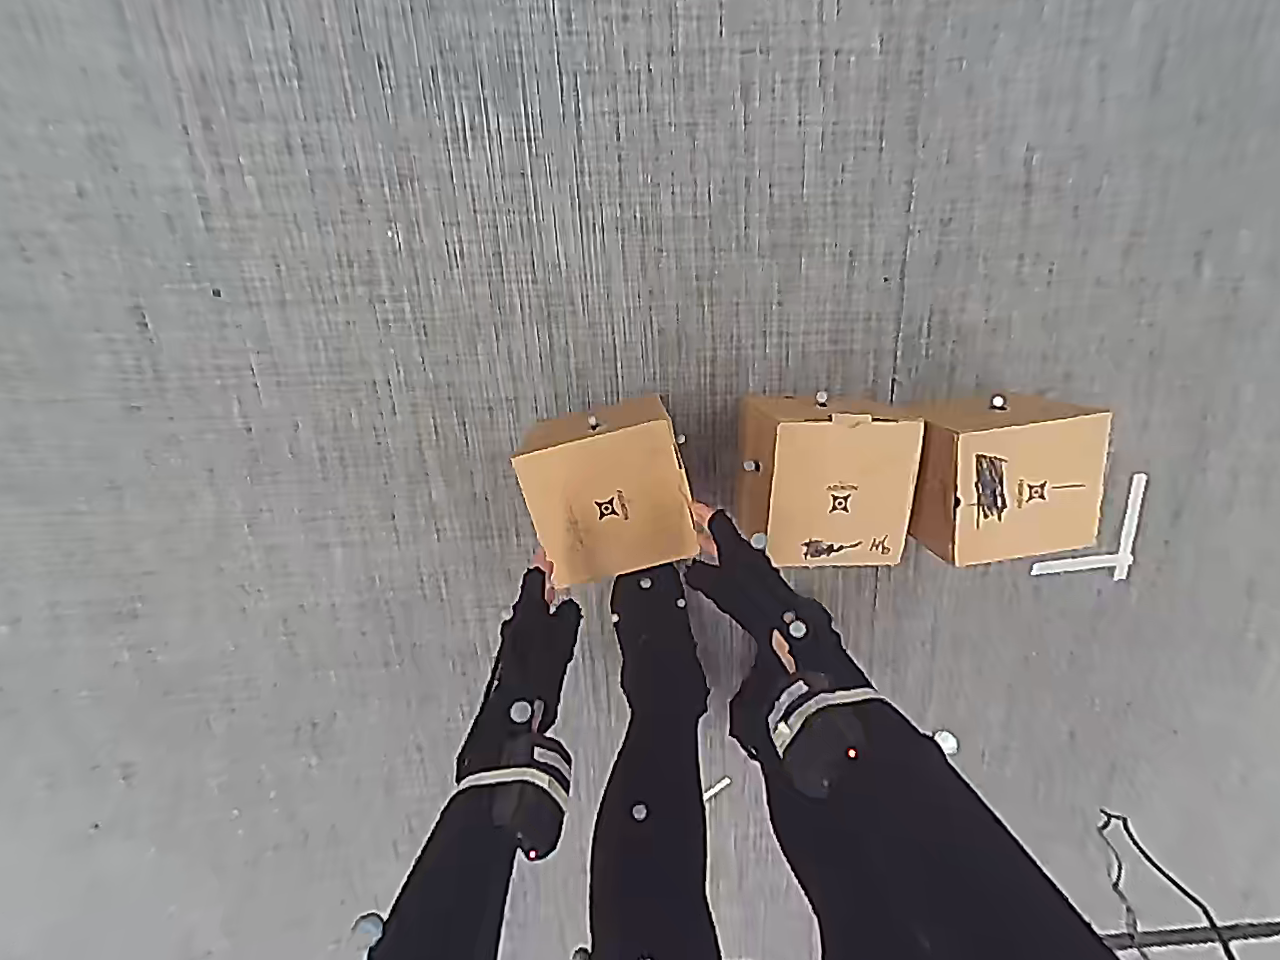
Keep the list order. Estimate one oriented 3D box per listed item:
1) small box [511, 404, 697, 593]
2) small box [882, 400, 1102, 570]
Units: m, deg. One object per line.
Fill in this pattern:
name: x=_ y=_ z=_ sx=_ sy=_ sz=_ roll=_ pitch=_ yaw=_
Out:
small box: x=-0.040 y=0.012 z=0.676 sx=0.179 sy=0.176 sz=0.168 roll=-15 pitch=106 yaw=3
small box: x=0.431 y=-0.002 z=0.695 sx=0.179 sy=0.176 sz=0.168 roll=-8 pitch=107 yaw=-1
